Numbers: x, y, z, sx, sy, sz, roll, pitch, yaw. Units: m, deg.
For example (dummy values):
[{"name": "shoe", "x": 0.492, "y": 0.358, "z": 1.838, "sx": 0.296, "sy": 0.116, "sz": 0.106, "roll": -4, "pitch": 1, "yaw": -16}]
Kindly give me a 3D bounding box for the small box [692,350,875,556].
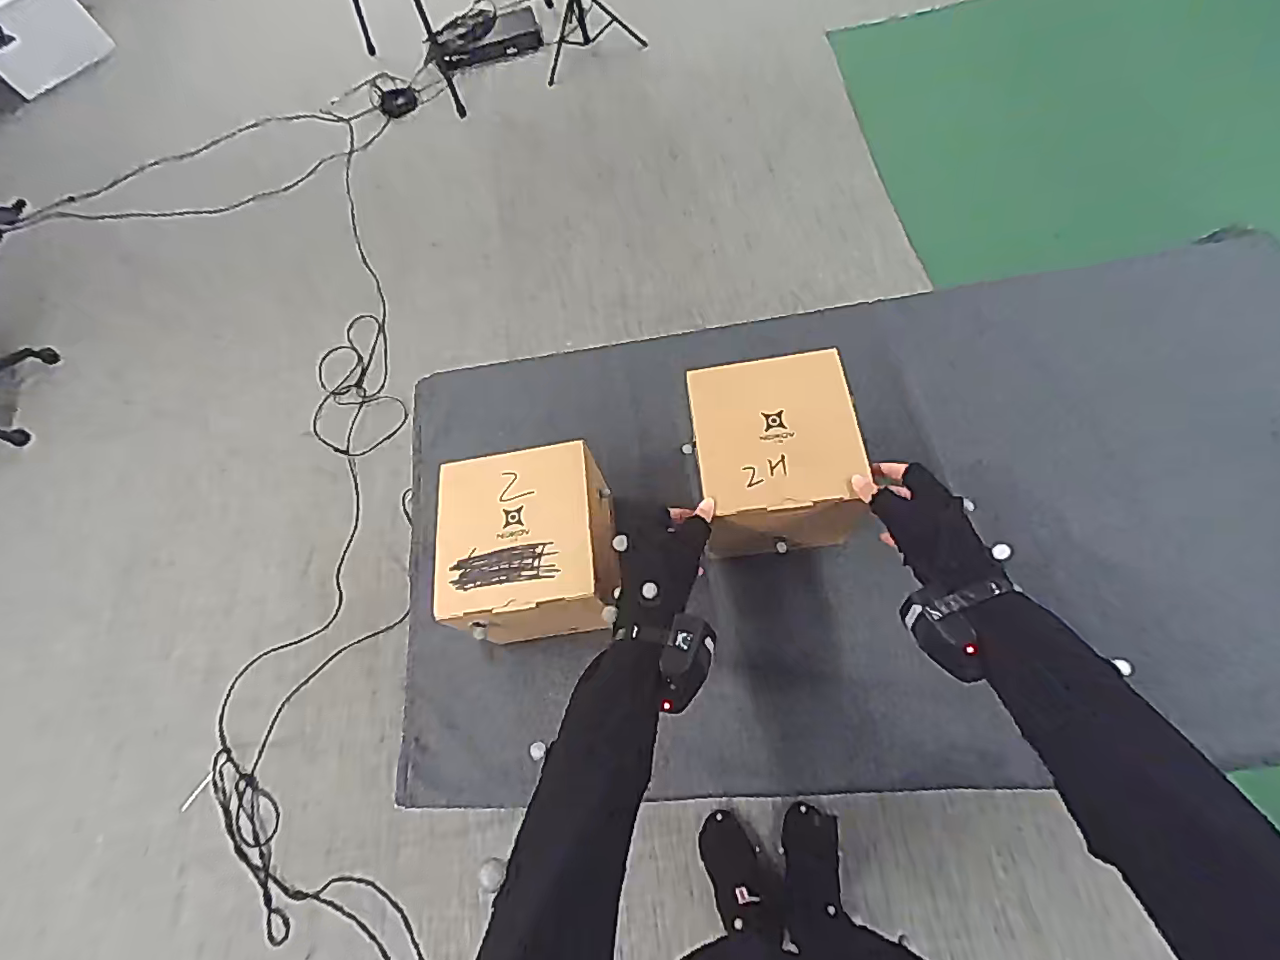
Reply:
[{"name": "small box", "x": 0.152, "y": -0.023, "z": 0.634, "sx": 0.168, "sy": 0.176, "sz": 0.179, "roll": -7, "pitch": 67, "yaw": 7}]
